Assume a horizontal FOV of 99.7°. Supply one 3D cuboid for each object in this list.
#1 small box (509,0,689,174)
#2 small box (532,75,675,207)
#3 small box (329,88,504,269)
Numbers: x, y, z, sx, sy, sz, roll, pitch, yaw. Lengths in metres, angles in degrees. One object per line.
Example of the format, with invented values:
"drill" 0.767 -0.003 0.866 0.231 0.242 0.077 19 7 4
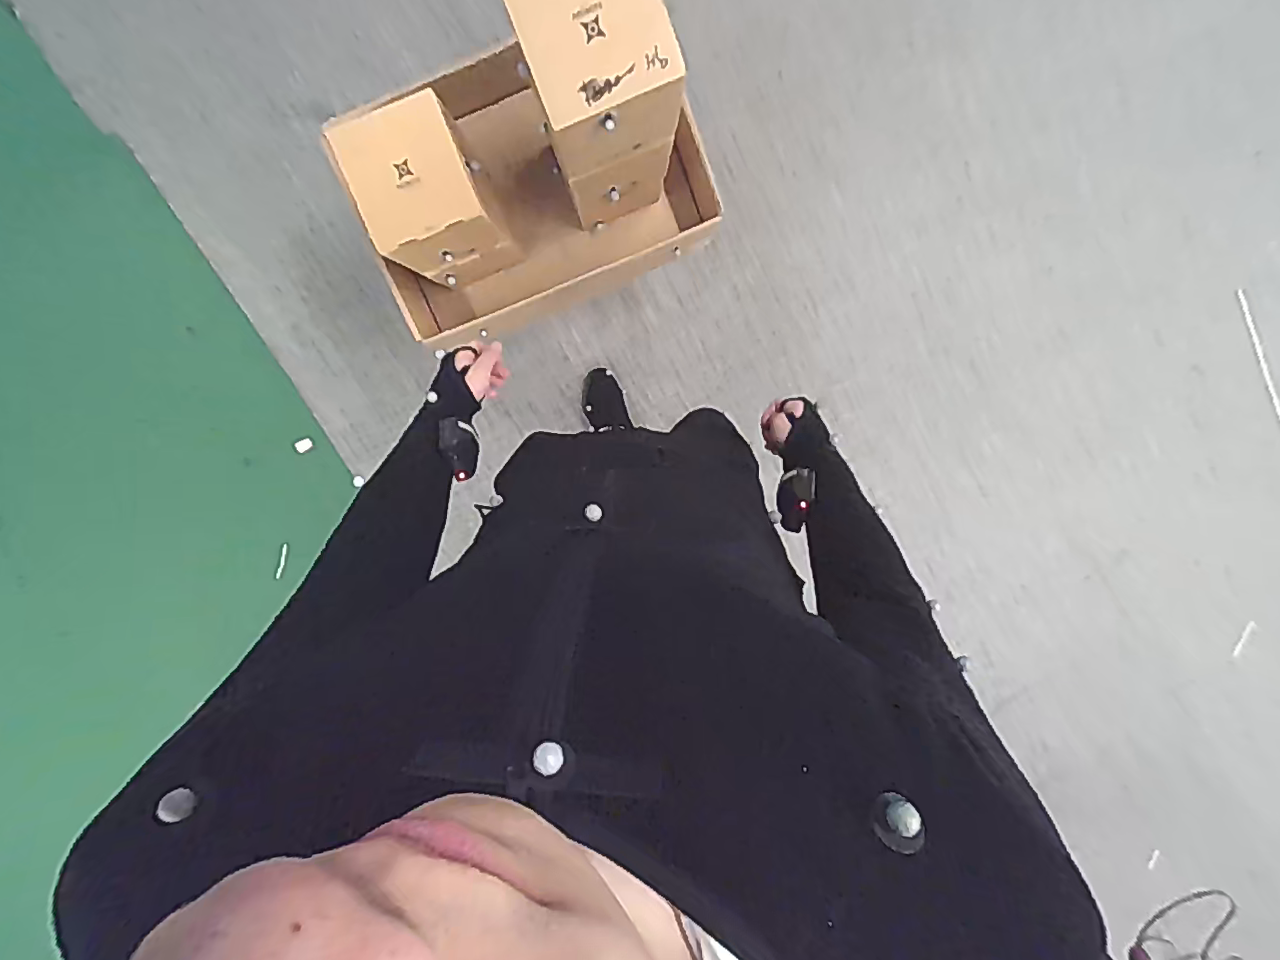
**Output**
"small box" -0.051 -0.521 0.670 0.168 0.176 0.179 -20 102 4
"small box" -0.057 -0.554 0.831 0.168 0.176 0.179 -20 103 3
"small box" -0.333 -0.454 0.844 0.168 0.176 0.179 -20 102 2
